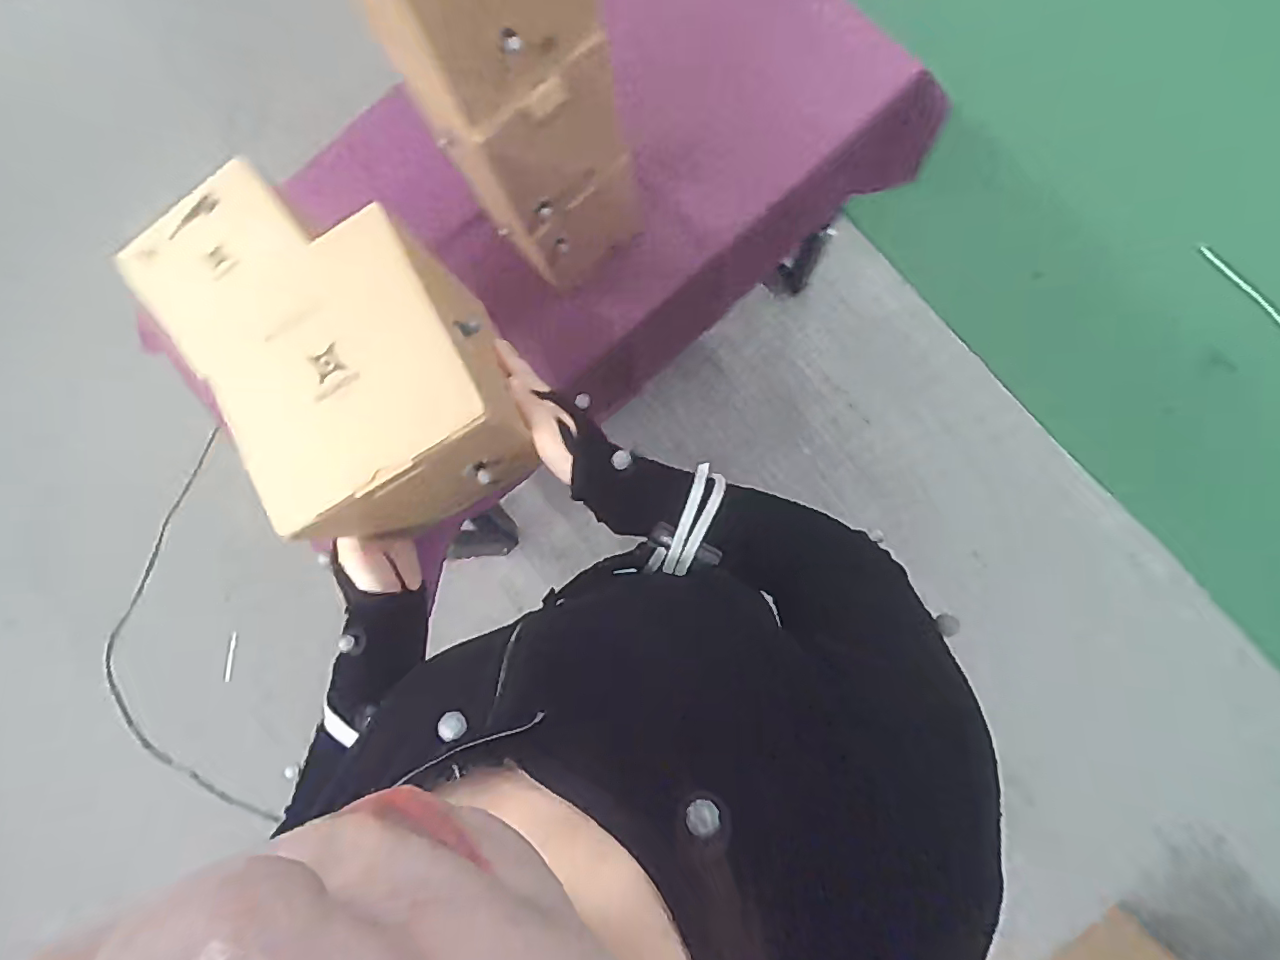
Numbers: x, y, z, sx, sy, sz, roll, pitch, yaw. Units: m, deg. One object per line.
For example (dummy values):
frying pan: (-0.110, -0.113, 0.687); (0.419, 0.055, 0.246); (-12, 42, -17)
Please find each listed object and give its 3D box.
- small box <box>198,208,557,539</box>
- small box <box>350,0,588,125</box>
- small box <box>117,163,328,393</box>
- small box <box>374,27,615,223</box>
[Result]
small box: (-0.190, -0.068, 0.442); (0.168, 0.176, 0.179); (-29, 82, 4)
small box: (-0.168, -0.459, 0.458); (0.168, 0.176, 0.179); (-43, 82, -1)
small box: (-0.405, -0.197, 0.613); (0.168, 0.176, 0.179); (-41, 82, -1)
small box: (-0.148, -0.431, 0.618); (0.168, 0.176, 0.179); (-42, 80, -1)
